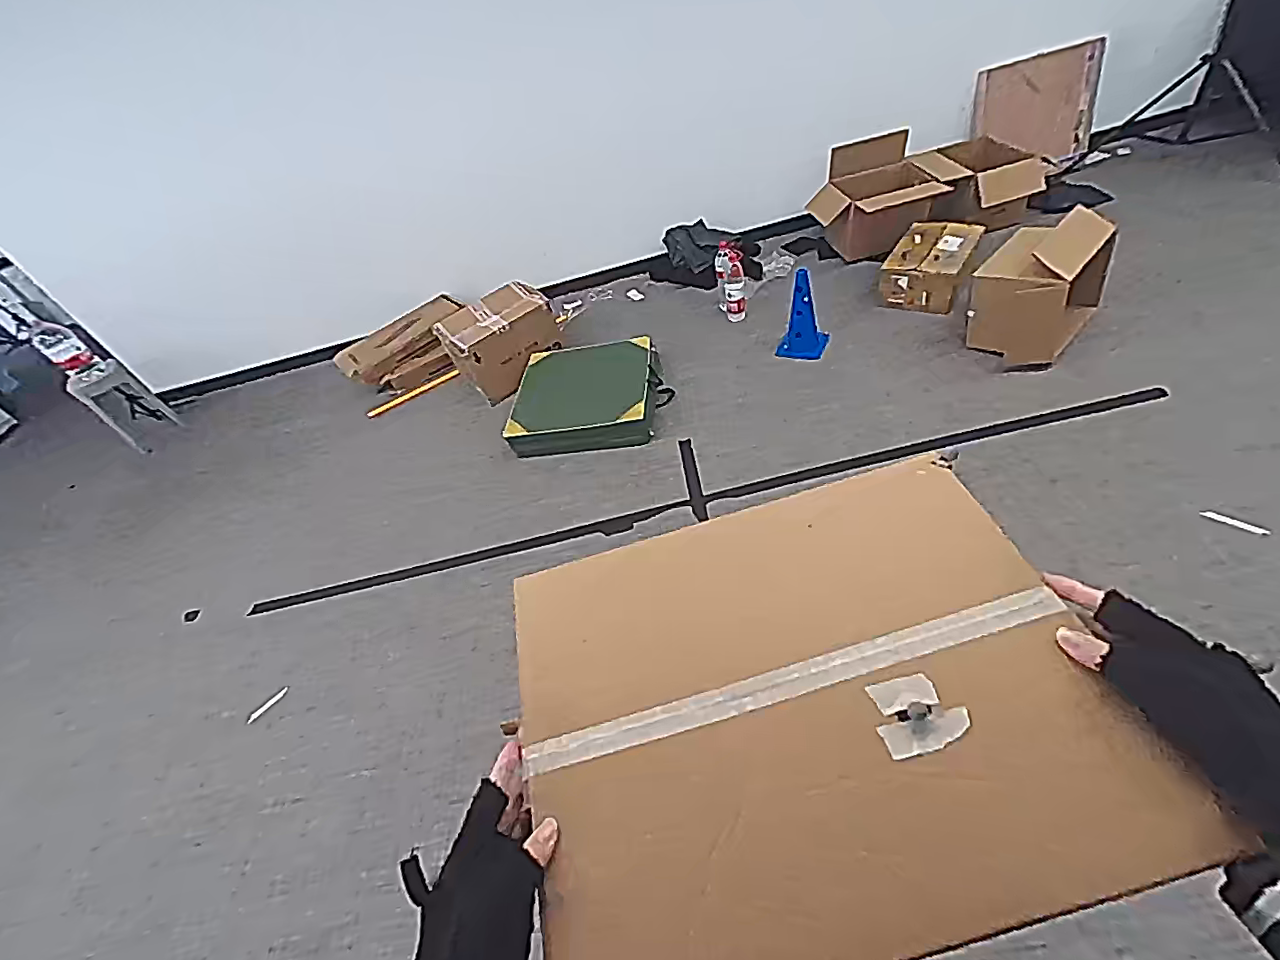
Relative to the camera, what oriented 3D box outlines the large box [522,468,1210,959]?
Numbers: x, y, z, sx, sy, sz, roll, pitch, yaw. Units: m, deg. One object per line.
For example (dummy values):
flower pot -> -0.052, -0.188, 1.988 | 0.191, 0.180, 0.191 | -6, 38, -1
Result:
large box -> 0.139, 0.250, 0.521 | 0.408, 0.320, 0.320 | -17, 50, -1
